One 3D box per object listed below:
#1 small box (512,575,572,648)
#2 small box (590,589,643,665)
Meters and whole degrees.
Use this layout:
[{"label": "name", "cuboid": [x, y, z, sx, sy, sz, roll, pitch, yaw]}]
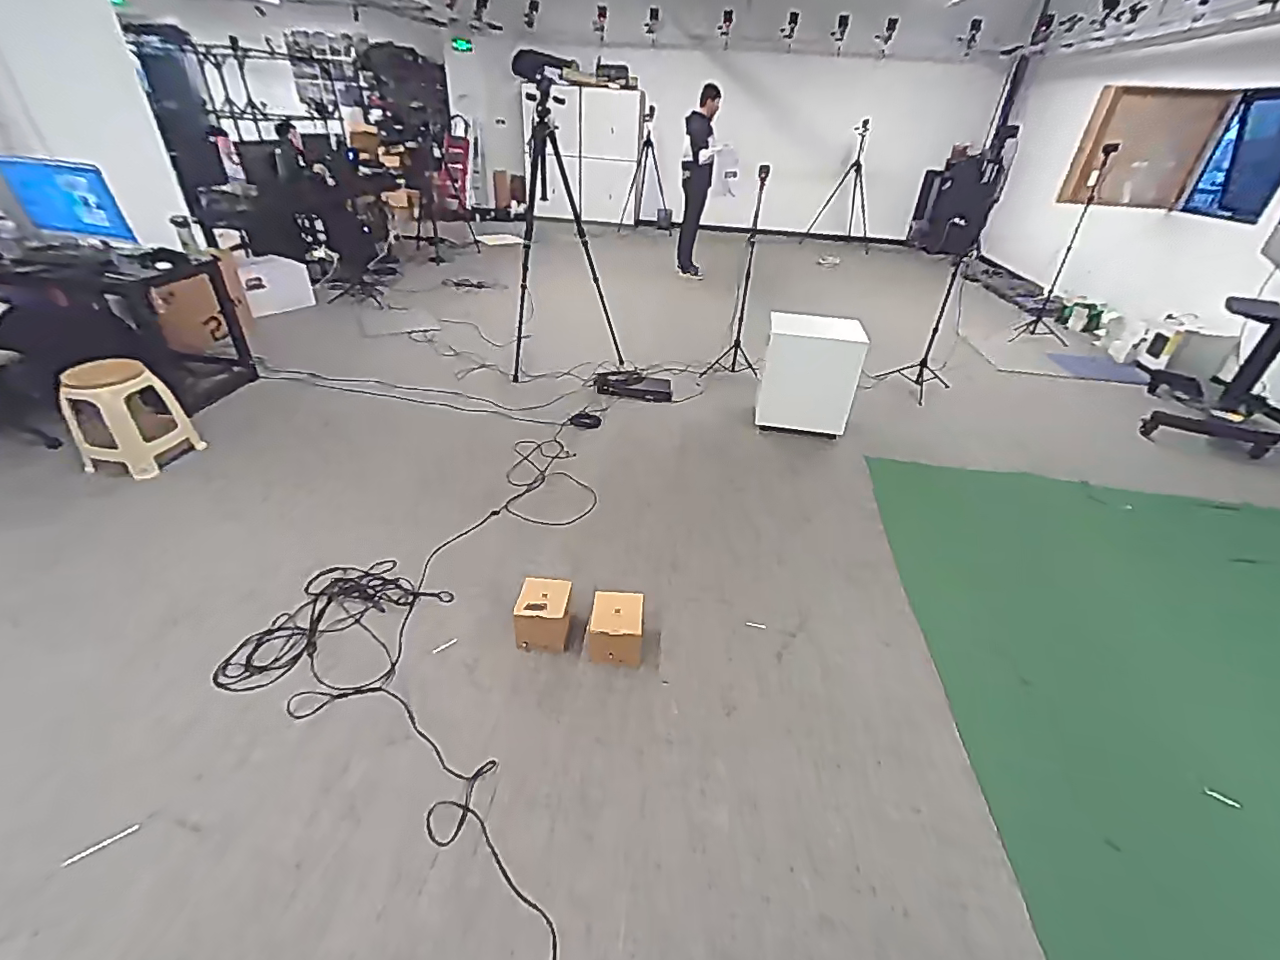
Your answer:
[{"label": "small box", "cuboid": [-0.330, 0.454, 1.856, 0.168, 0.176, 0.179, 5, 34, 2]}, {"label": "small box", "cuboid": [-0.080, 0.495, 1.822, 0.168, 0.176, 0.179, 3, 35, 0]}]
